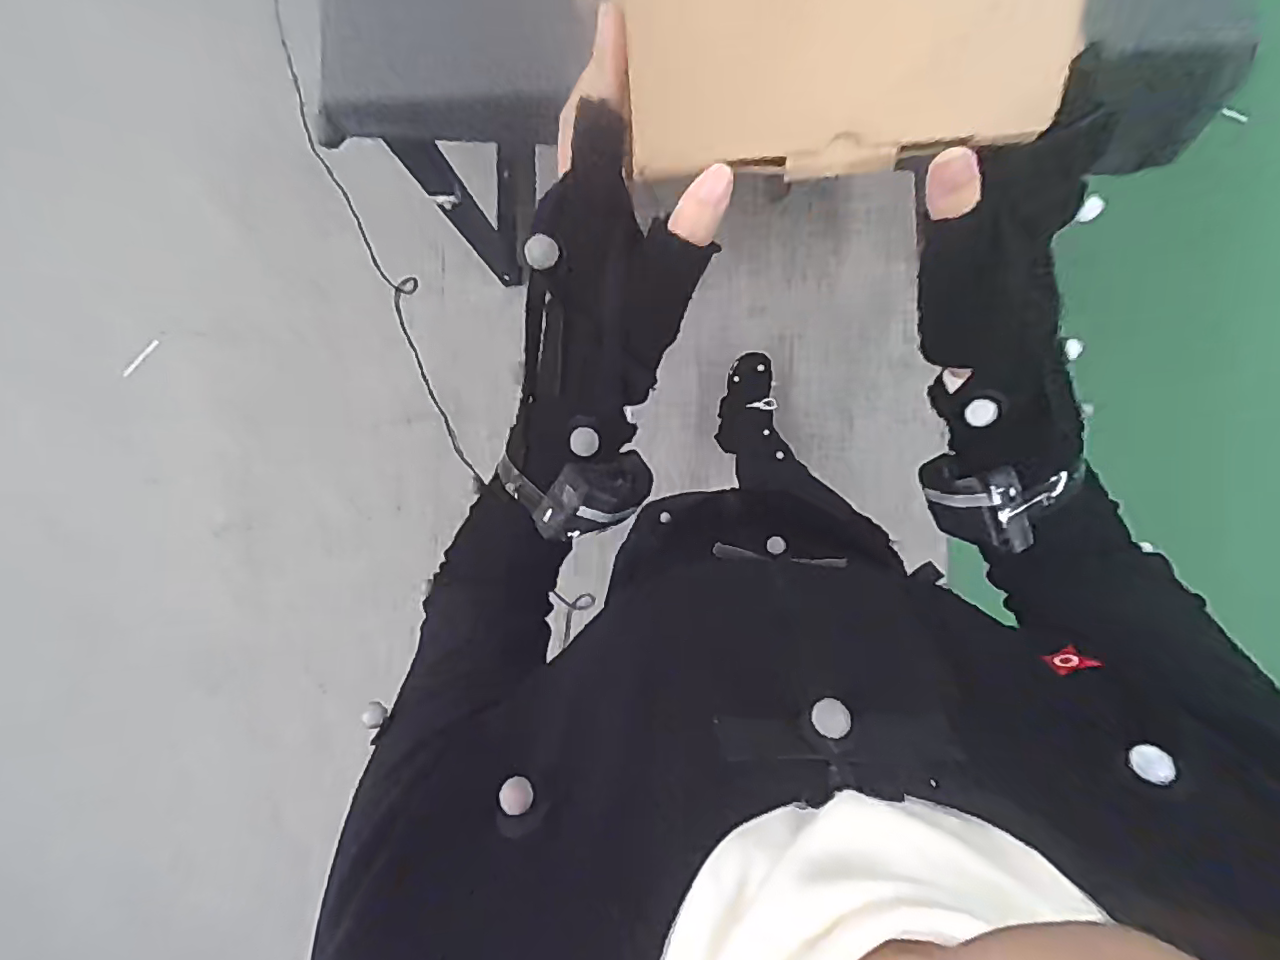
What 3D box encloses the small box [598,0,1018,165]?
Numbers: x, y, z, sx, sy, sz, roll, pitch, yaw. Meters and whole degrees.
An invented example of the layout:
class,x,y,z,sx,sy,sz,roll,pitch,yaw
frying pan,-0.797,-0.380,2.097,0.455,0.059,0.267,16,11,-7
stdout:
class,x,y,z,sx,sy,sz,roll,pitch,yaw
small box,0.060,-0.261,0.261,0.168,0.176,0.179,-7,119,1
